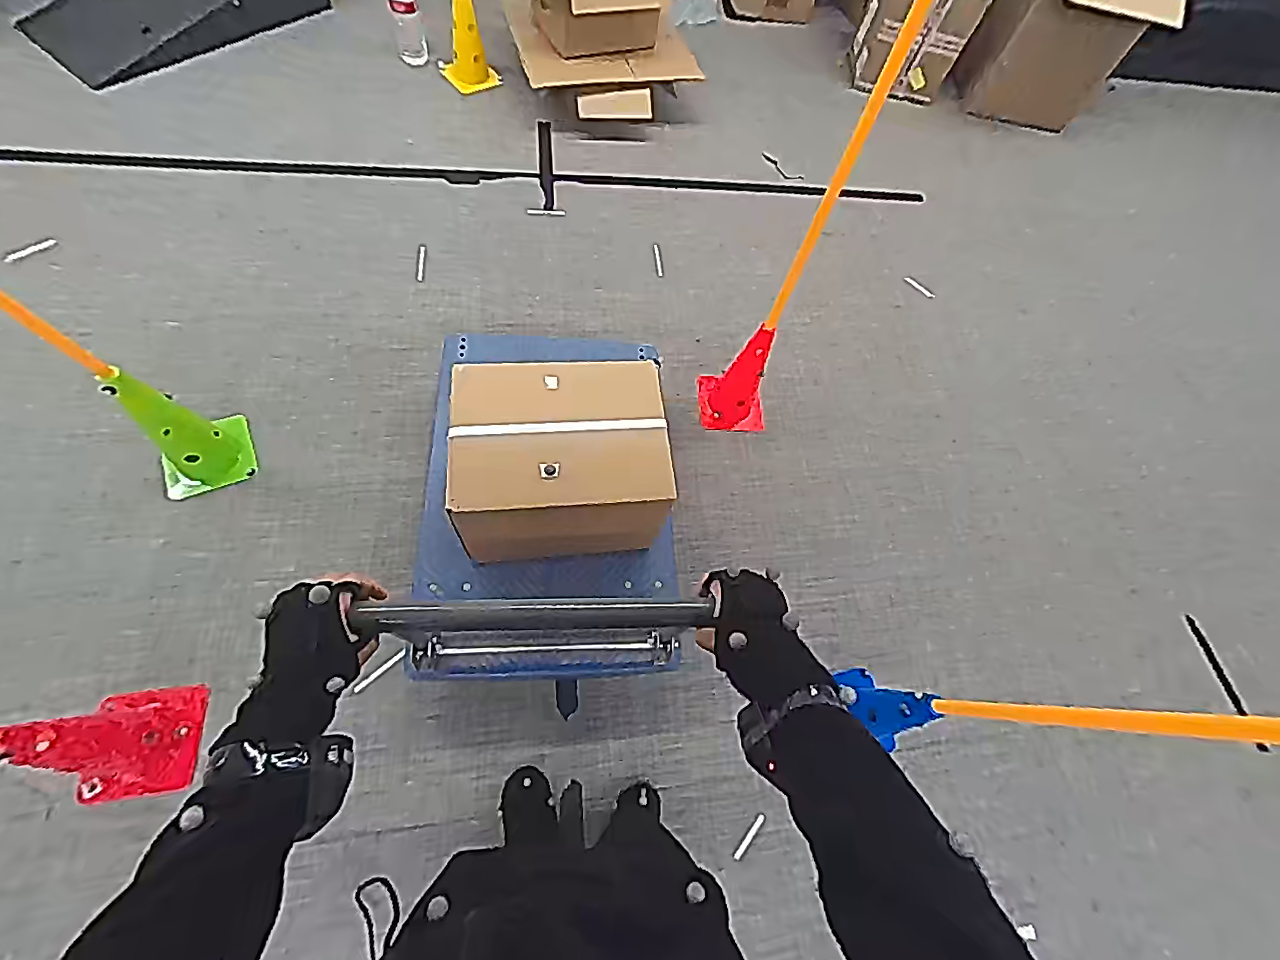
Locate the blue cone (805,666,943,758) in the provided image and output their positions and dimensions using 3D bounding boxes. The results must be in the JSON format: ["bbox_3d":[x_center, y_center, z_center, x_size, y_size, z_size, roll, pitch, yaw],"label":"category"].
[{"bbox_3d":[0.538,0.495,1.188,0.193,0.380,0.192,-6,64,-12],"label":"blue cone"}]

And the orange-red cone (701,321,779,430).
[{"bbox_3d":[0.313,-0.318,1.532,0.199,0.360,0.198,4,64,-8],"label":"orange-red cone"}]
